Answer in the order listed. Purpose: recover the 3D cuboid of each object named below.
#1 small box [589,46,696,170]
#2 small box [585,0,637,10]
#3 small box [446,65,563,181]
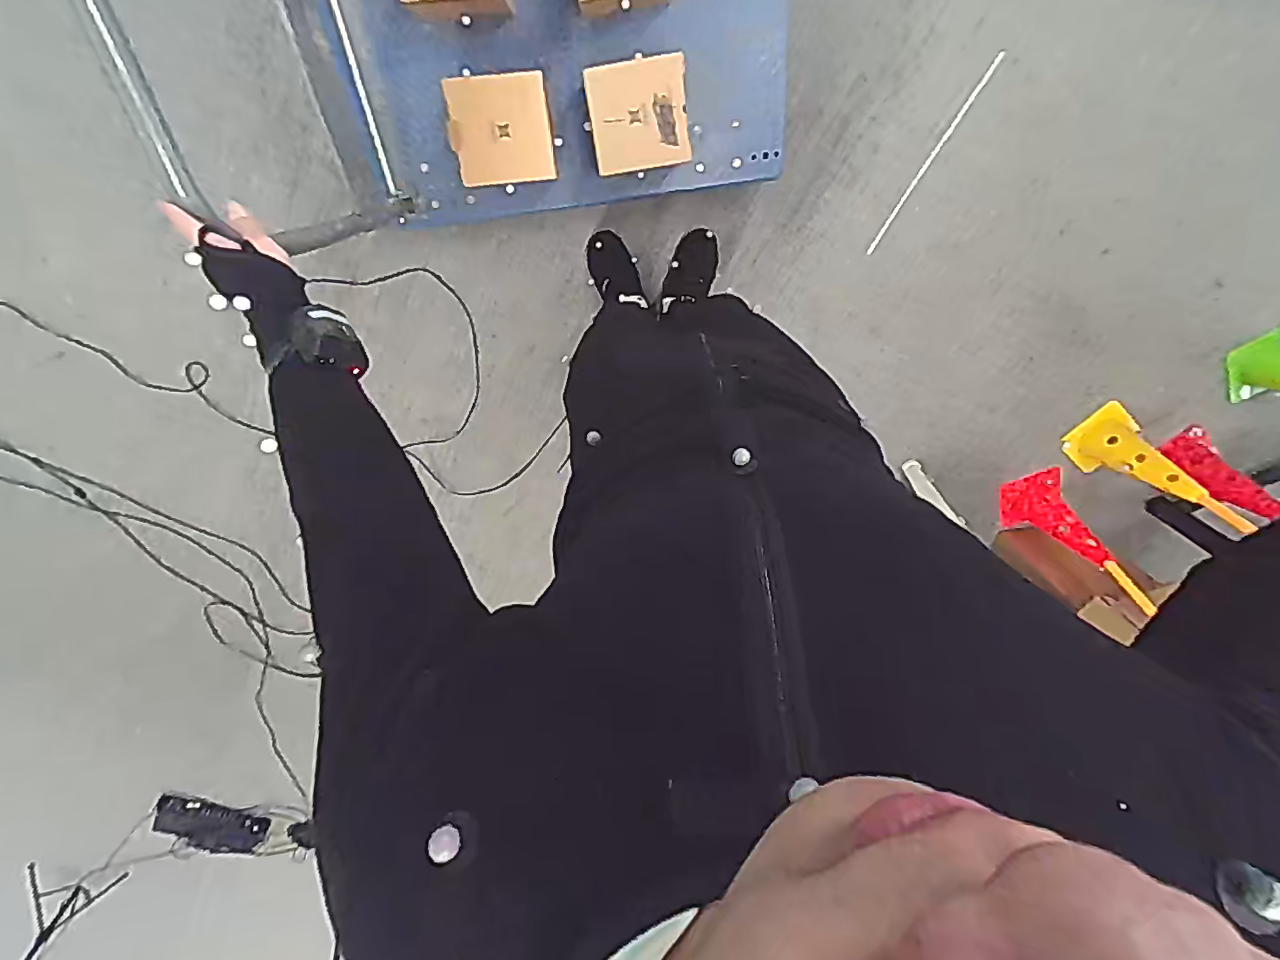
[{"bbox_3d":[0.004,-0.696,1.024,0.179,0.176,0.168,-8,121,3],"label":"small box"},{"bbox_3d":[-0.026,-0.912,0.892,0.179,0.176,0.168,-10,122,3],"label":"small box"},{"bbox_3d":[-0.245,-0.673,1.028,0.179,0.176,0.168,-5,121,0],"label":"small box"}]
